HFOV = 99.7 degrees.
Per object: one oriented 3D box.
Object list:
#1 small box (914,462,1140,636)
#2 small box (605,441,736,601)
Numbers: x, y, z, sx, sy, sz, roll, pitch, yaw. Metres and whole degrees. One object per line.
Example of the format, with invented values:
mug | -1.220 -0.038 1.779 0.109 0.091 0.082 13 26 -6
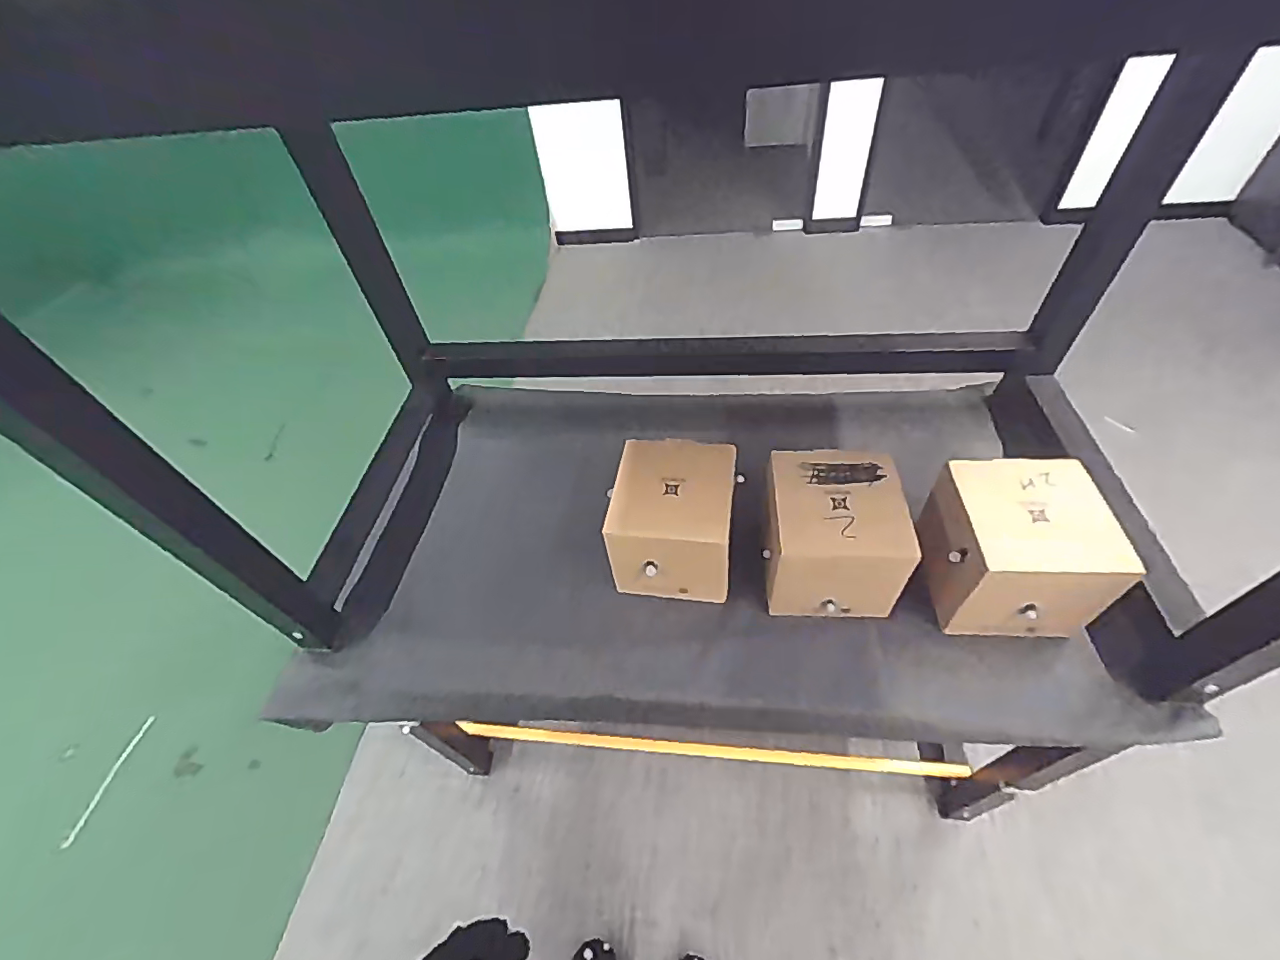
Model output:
small box | 0.494 0.096 0.727 0.168 0.176 0.179 0 48 7
small box | 0.055 0.063 0.811 0.168 0.176 0.179 4 50 10
